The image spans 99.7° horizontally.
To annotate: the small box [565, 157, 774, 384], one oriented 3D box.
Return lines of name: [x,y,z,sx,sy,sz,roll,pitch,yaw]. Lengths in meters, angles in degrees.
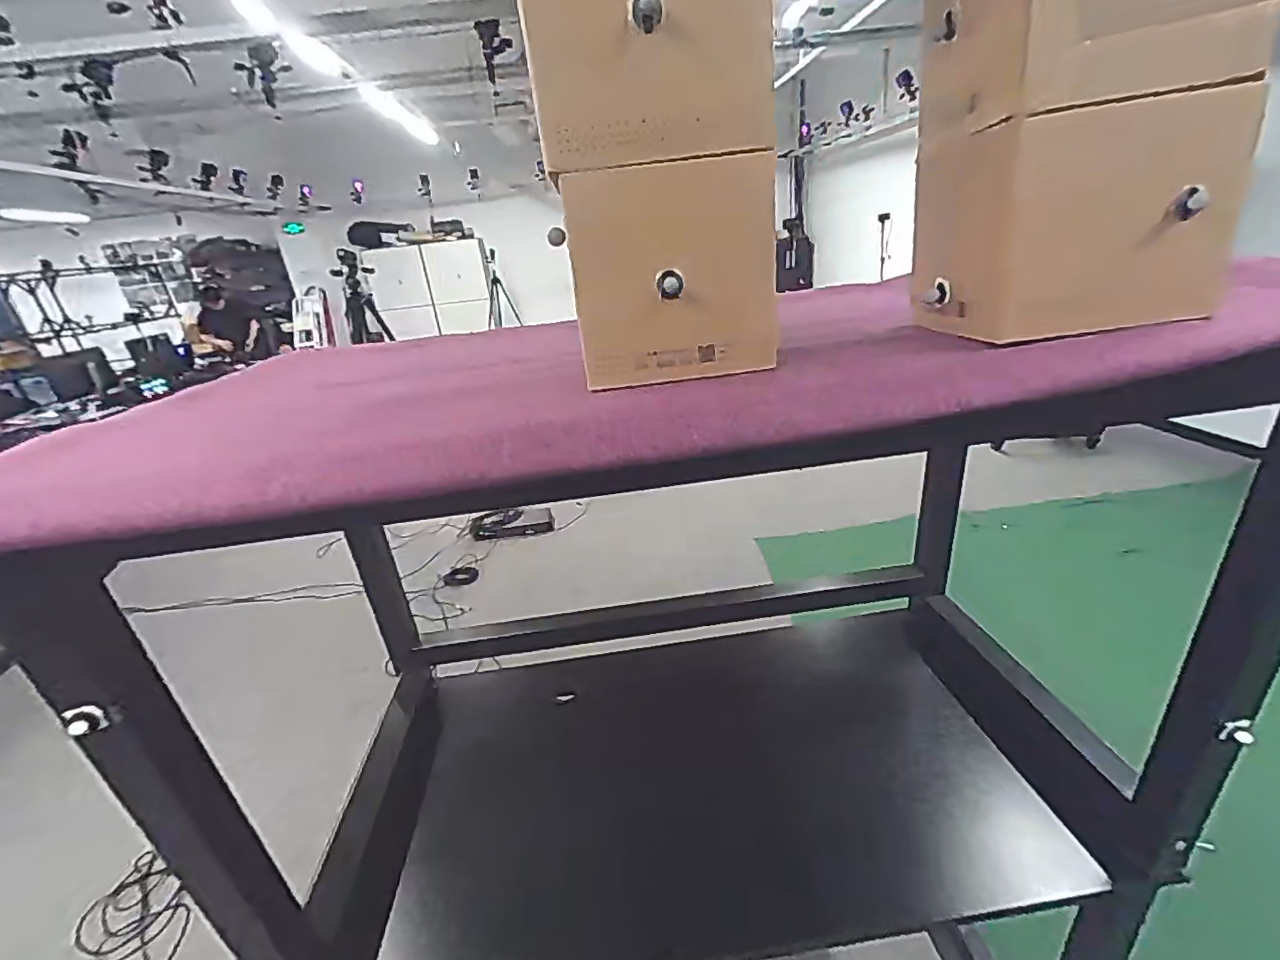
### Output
small box: [0.026,-0.192,0.518,0.168,0.176,0.179,-6,23,-2]

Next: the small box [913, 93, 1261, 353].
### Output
small box: [0.374,-0.221,0.496,0.179,0.176,0.168,-8,21,3]

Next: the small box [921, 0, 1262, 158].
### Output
small box: [0.351,-0.374,0.443,0.179,0.176,0.168,-5,21,5]
